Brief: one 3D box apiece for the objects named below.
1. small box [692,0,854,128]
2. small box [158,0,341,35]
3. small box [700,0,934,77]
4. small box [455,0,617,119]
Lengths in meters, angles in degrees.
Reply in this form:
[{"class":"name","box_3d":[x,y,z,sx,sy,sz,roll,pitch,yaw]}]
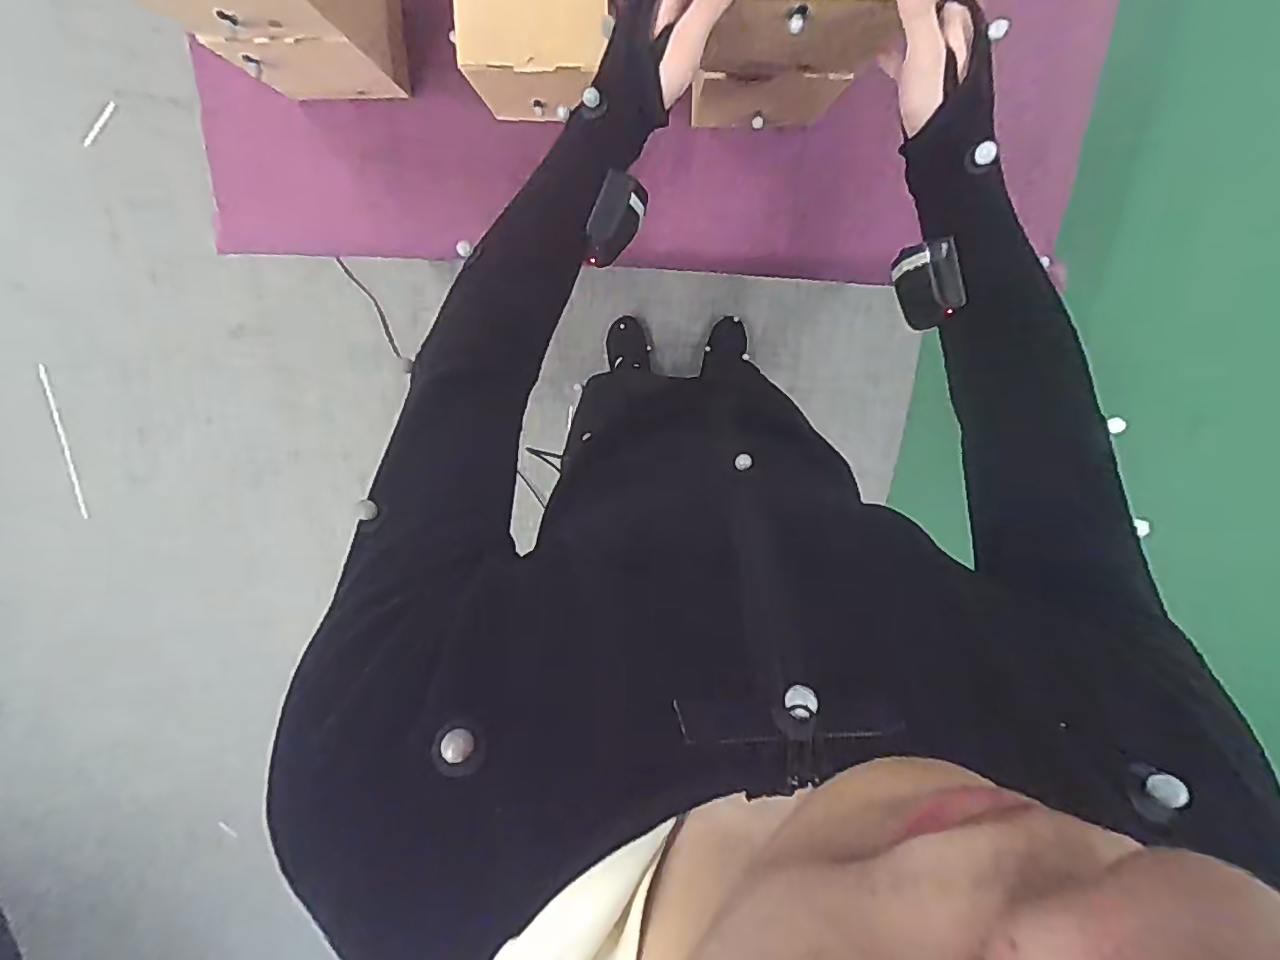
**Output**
[{"class":"small box","box_3d":[0.151,-0.544,0.639,0.168,0.176,0.179,0,108,0]},{"class":"small box","box_3d":[-0.390,-0.531,0.466,0.168,0.176,0.179,0,108,0]},{"class":"small box","box_3d":[0.143,-0.465,0.440,0.168,0.176,0.179,1,111,-1]},{"class":"small box","box_3d":[-0.114,-0.555,0.635,0.168,0.176,0.179,1,109,-1]}]
